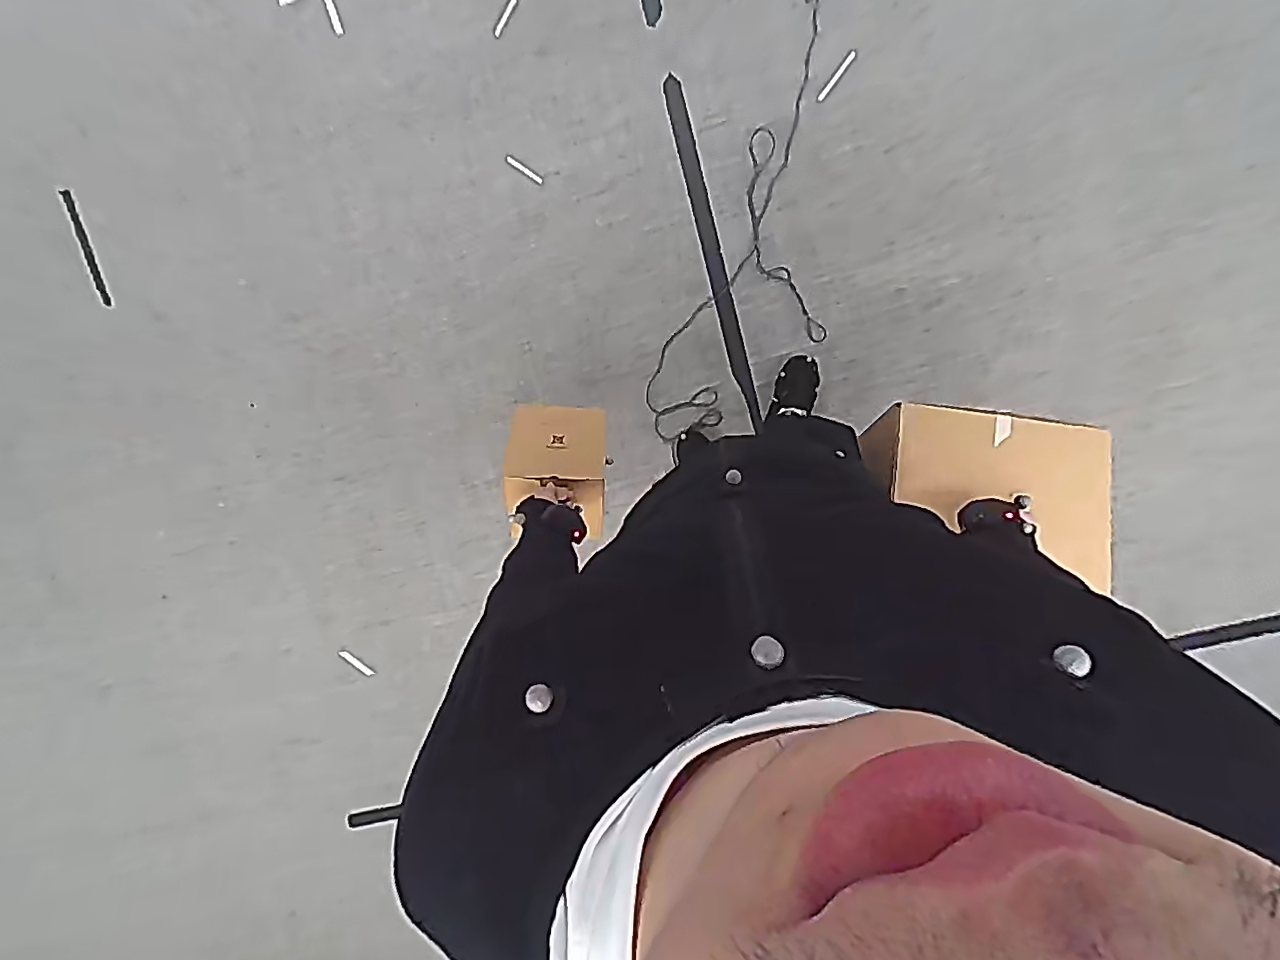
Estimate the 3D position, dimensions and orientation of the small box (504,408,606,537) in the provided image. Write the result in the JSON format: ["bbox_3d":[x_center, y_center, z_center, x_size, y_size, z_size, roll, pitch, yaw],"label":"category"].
[{"bbox_3d":[-0.150,-0.010,0.998,0.168,0.179,0.176,3,137,-6],"label":"small box"}]
